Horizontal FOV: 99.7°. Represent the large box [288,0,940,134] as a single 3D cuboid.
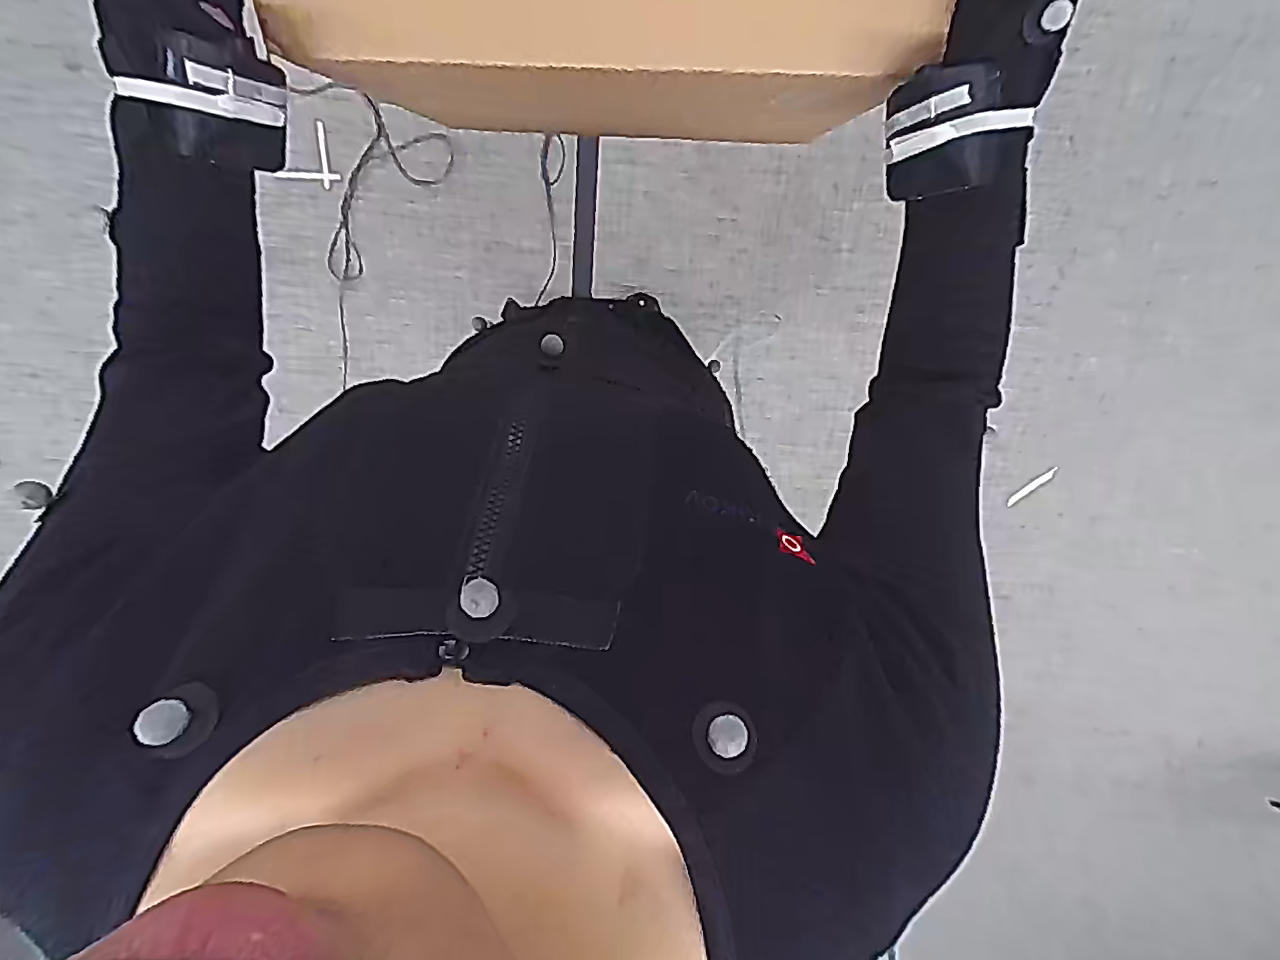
[{"bbox_3d":[-0.015,-0.466,0.409,0.408,0.320,0.320,2,116,0],"label":"large box"}]
